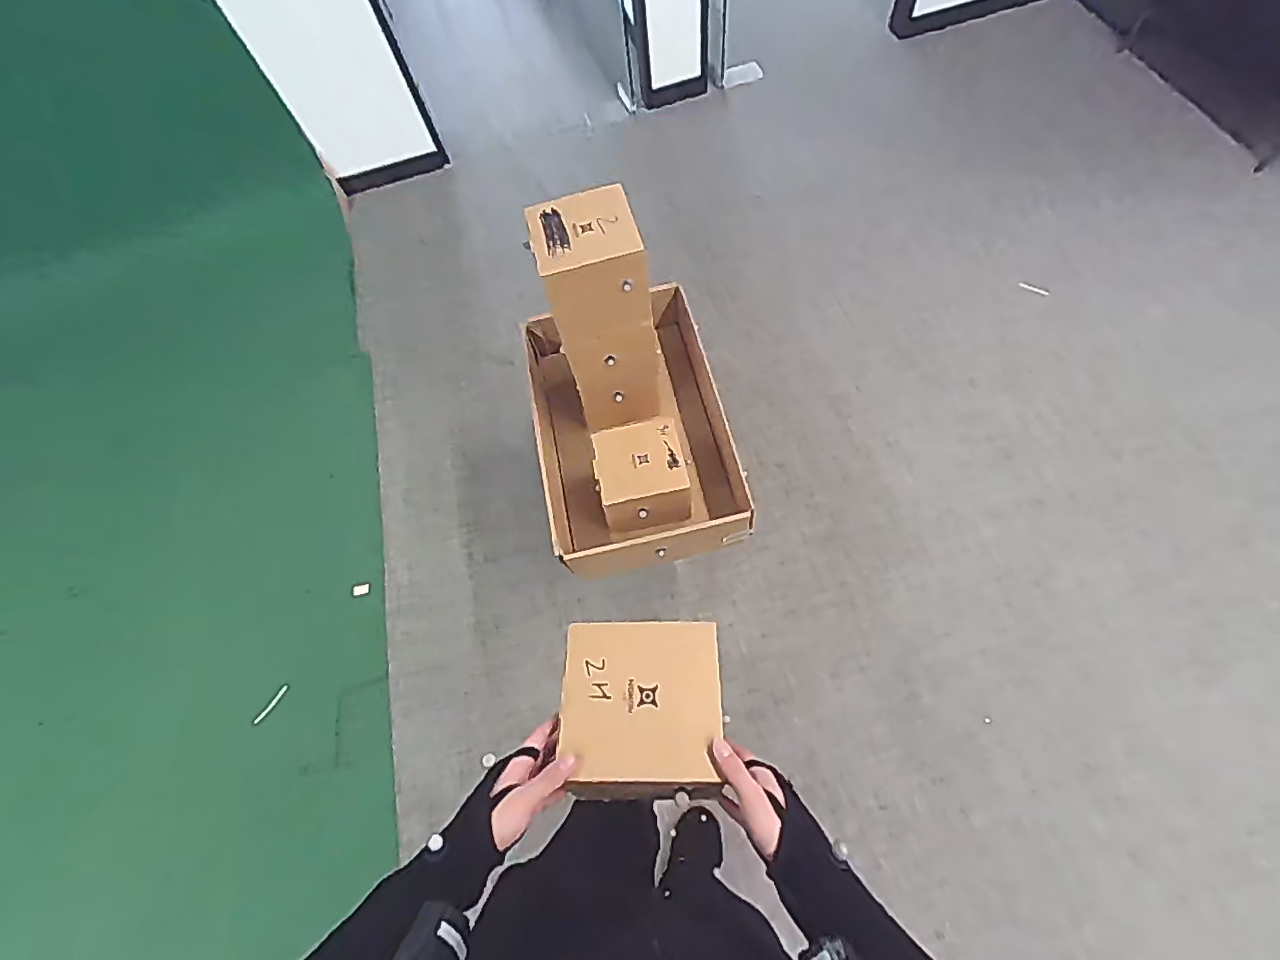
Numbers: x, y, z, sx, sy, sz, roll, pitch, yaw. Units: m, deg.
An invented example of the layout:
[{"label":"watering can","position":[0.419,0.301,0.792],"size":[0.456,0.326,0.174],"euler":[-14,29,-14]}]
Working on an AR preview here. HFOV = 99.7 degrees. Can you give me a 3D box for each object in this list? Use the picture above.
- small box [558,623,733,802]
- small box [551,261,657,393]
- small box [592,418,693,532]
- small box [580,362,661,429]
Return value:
[{"label":"small box","position":[0.012,0.279,0.644],"size":[0.179,0.176,0.168],"euler":[-1,54,4]},{"label":"small box","position":[-0.066,-0.304,1.099],"size":[0.179,0.176,0.168],"euler":[-15,65,0]},{"label":"small box","position":[0.010,-0.004,1.132],"size":[0.179,0.176,0.168],"euler":[-12,64,1]},{"label":"small box","position":[-0.050,-0.241,1.250],"size":[0.179,0.176,0.168],"euler":[-14,65,0]}]
